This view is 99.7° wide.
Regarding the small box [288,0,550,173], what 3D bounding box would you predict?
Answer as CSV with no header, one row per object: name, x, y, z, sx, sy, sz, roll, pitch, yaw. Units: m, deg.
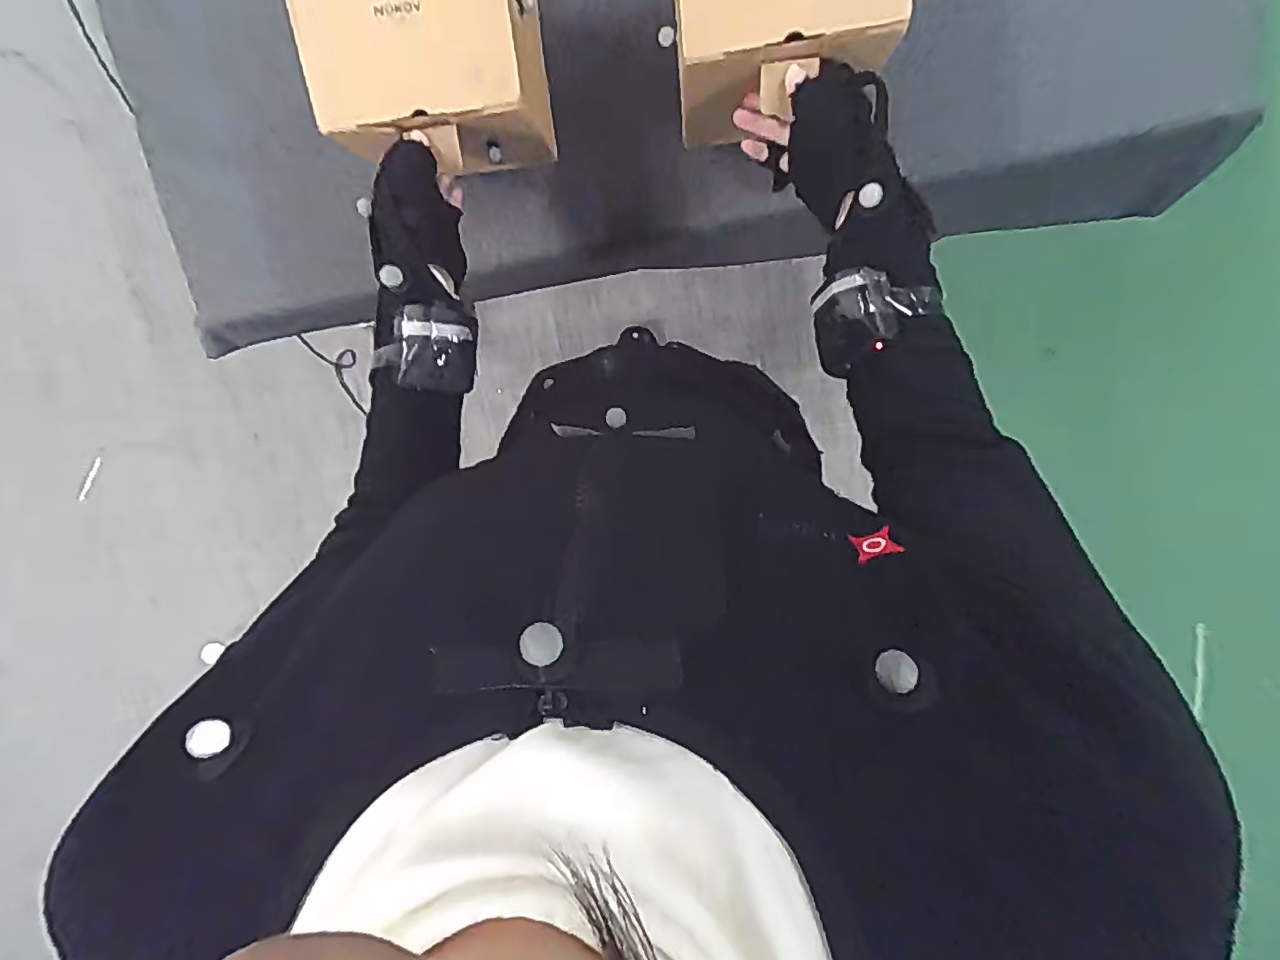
small box,-0.184,-0.393,0.483,0.168,0.176,0.179,-7,106,3
